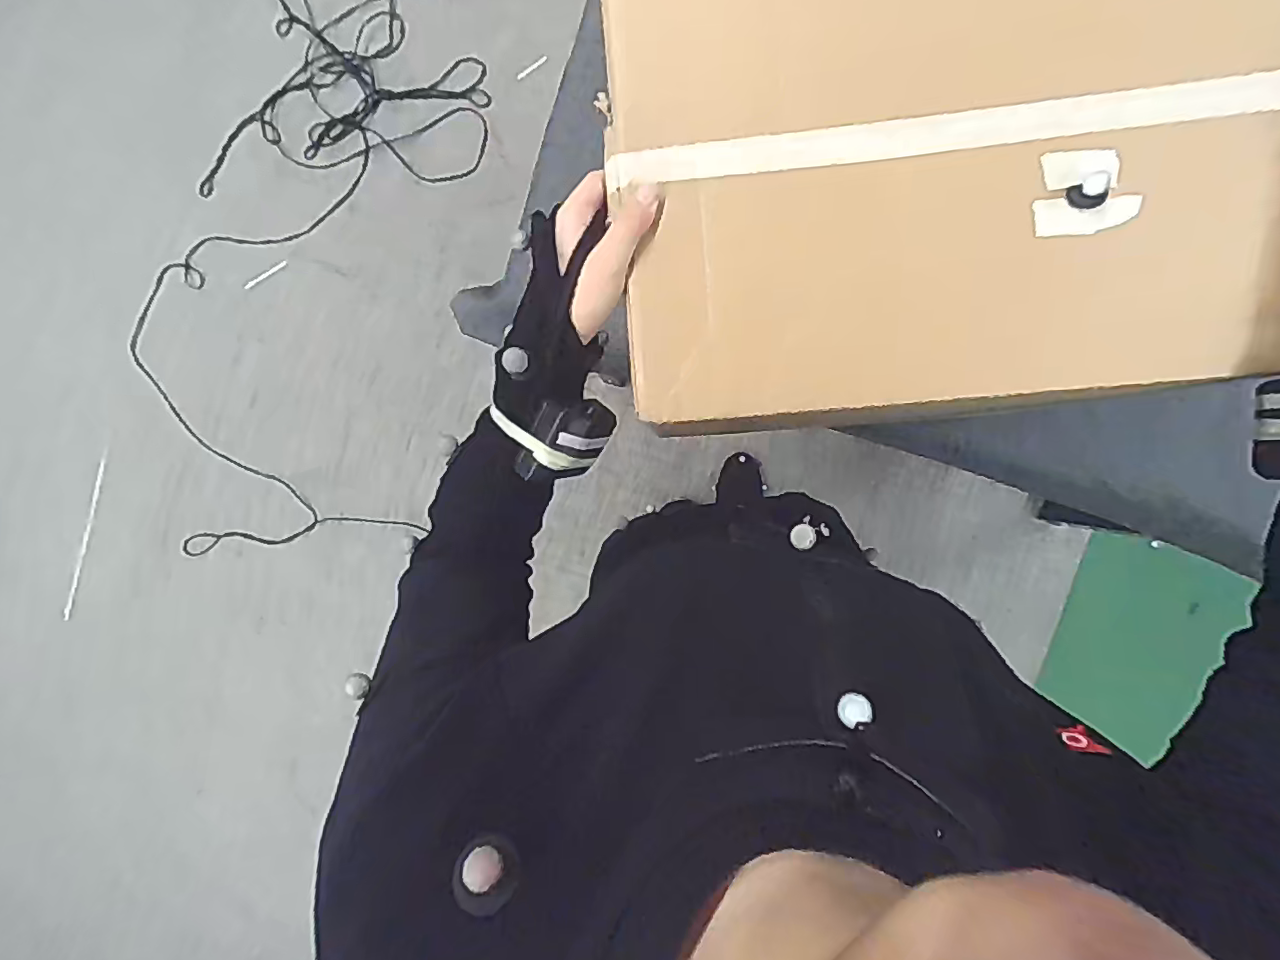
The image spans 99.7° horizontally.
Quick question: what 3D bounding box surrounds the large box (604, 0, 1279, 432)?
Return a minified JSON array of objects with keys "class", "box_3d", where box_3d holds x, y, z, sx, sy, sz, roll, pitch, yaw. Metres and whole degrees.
[{"class":"large box","box_3d":[0.193,-0.221,0.477,0.408,0.320,0.320,-5,93,3]}]
